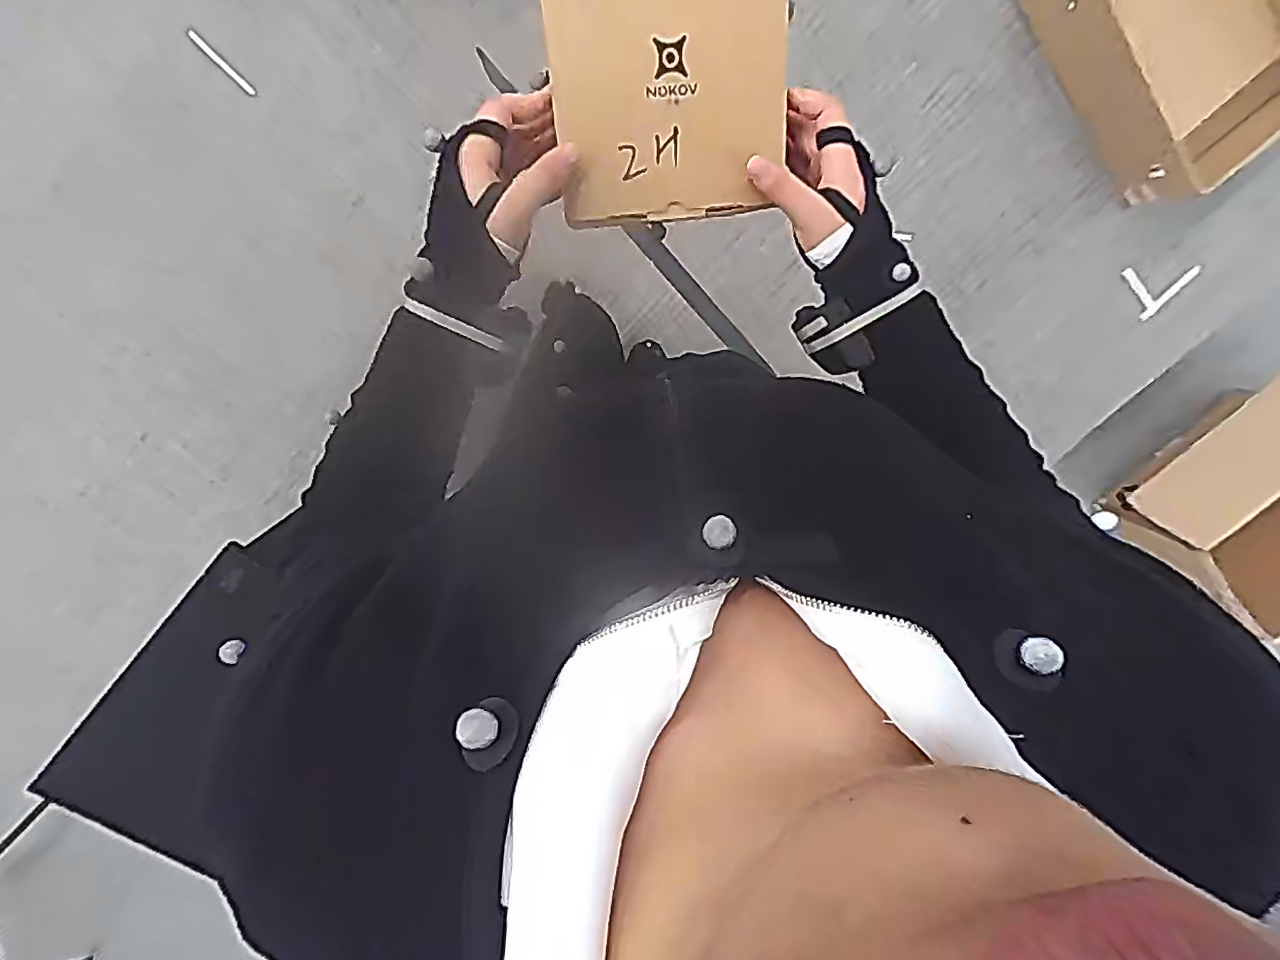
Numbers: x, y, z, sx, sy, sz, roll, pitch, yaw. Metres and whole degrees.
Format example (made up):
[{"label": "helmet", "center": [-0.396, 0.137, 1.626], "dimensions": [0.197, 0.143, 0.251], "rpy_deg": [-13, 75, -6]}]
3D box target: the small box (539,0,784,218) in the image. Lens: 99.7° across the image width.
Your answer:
[{"label": "small box", "center": [0.009, -0.319, 0.438], "dimensions": [0.168, 0.176, 0.179], "rpy_deg": [-6, 114, -3]}]
